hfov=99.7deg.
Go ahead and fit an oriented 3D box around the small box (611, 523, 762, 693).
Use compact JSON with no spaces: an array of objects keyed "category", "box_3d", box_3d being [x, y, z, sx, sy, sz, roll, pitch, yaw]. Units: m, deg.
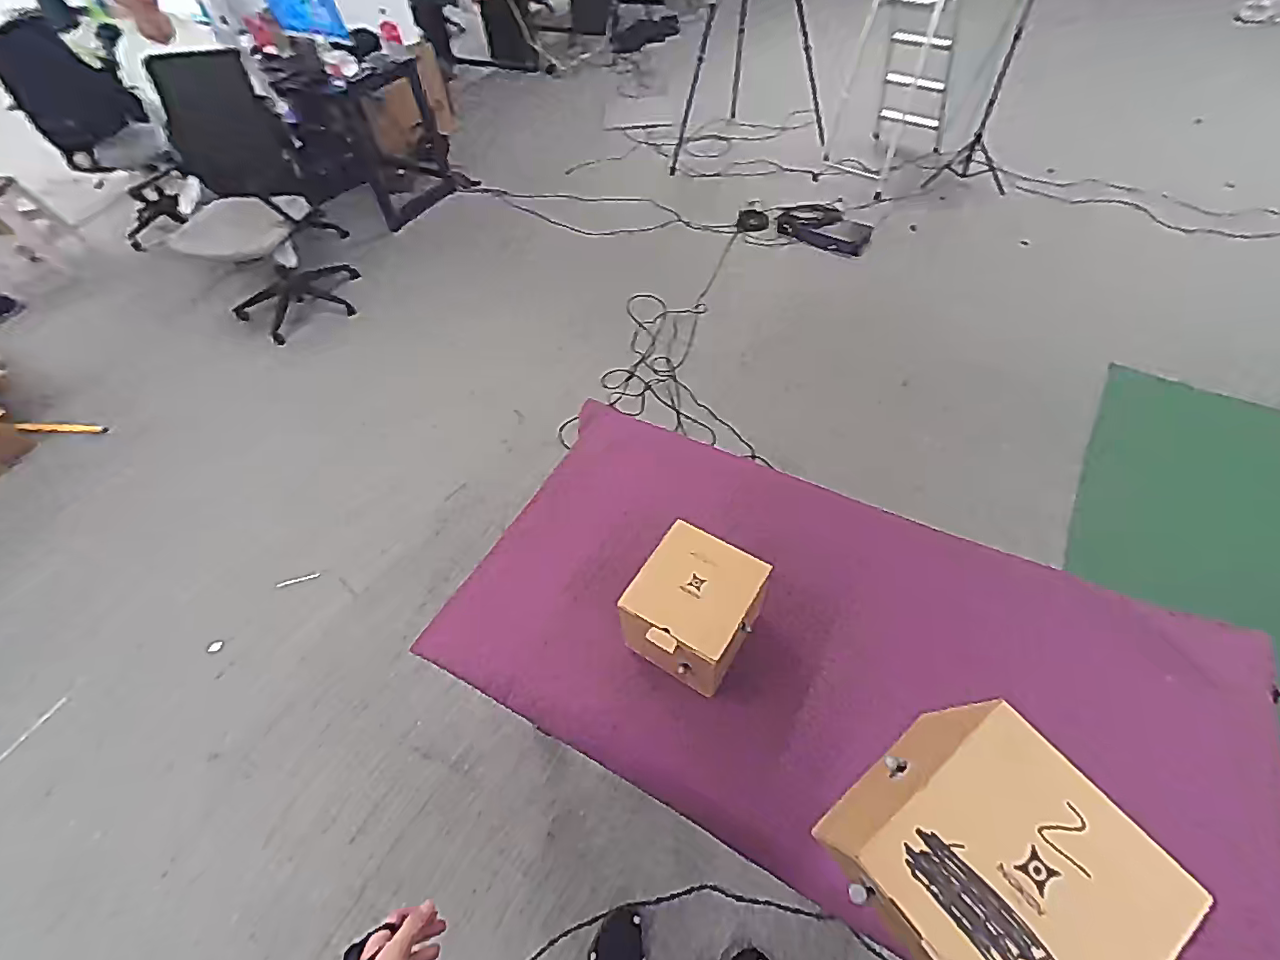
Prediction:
[{"category":"small box","box_3d":[0.076,0.208,0.863,0.168,0.176,0.179,27,58,22]}]
